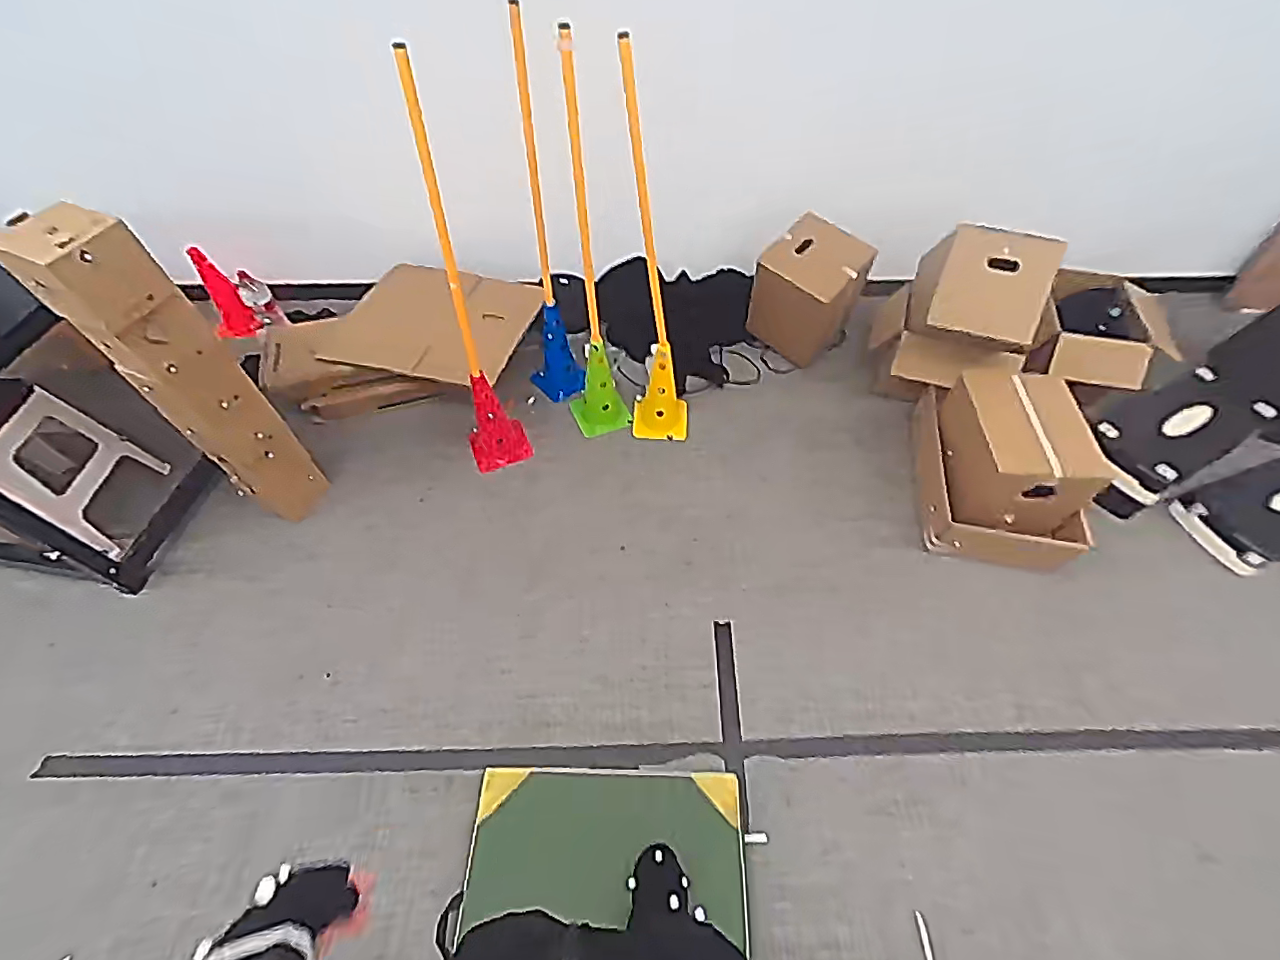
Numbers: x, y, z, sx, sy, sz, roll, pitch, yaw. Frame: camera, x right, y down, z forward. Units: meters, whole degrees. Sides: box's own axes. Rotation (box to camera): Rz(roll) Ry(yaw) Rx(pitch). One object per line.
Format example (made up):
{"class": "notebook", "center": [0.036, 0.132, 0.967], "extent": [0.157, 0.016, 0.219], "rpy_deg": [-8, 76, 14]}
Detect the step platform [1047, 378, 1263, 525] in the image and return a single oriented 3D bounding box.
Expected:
{"class": "step platform", "center": [1.800, -0.114, 1.893], "extent": [0.684, 0.204, 0.286], "rpy_deg": [-24, 58, -16]}
